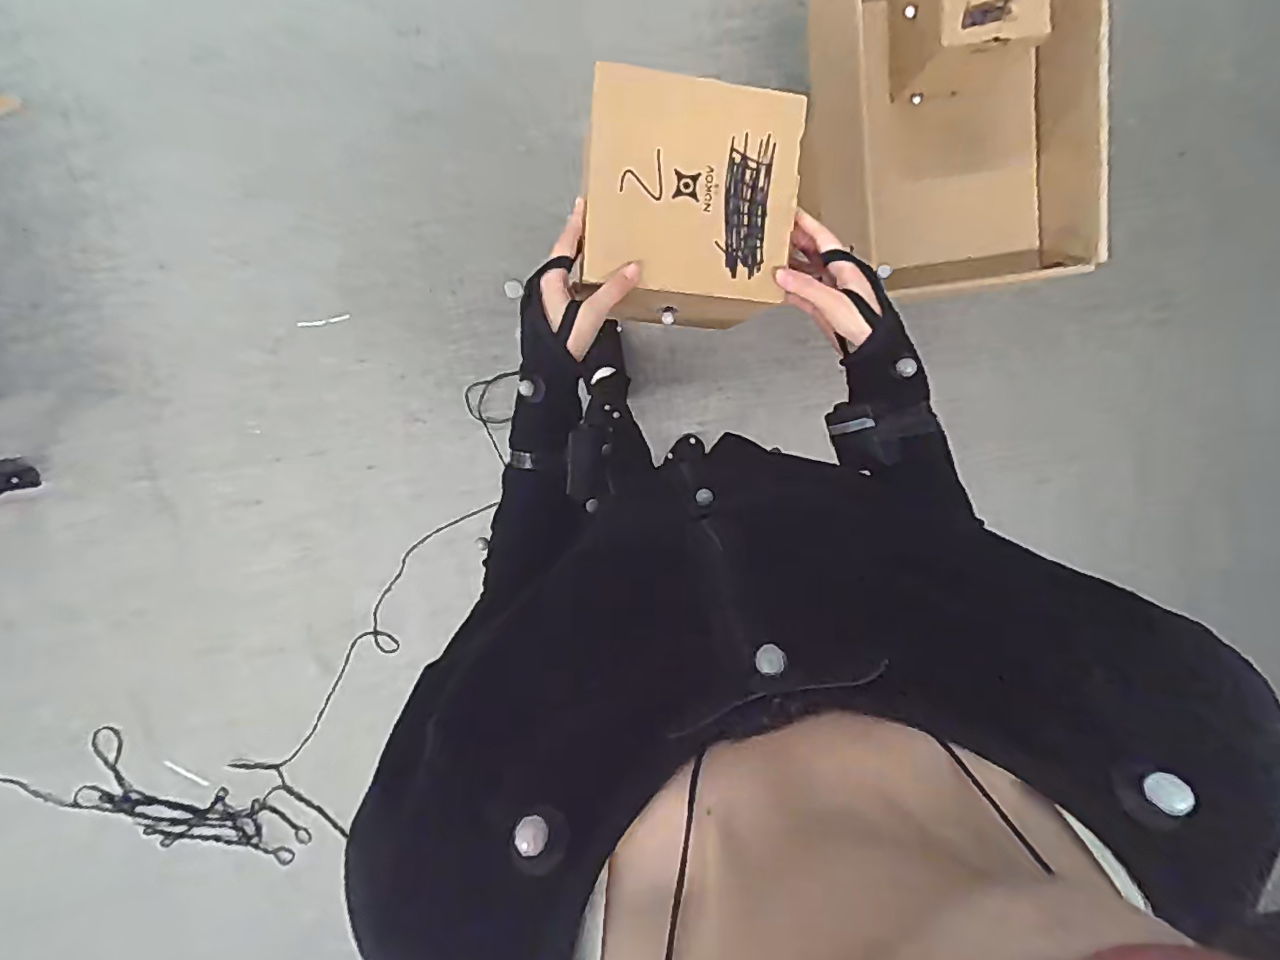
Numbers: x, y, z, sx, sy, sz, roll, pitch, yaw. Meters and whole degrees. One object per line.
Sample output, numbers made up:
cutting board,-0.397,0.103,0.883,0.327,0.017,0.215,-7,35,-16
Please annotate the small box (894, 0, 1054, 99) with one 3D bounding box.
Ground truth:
small box,0.533,-0.754,0.881,0.168,0.176,0.179,-6,99,0

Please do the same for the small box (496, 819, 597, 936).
small box,-0.202,0.905,1.213,0.179,0.176,0.168,-11,98,1
